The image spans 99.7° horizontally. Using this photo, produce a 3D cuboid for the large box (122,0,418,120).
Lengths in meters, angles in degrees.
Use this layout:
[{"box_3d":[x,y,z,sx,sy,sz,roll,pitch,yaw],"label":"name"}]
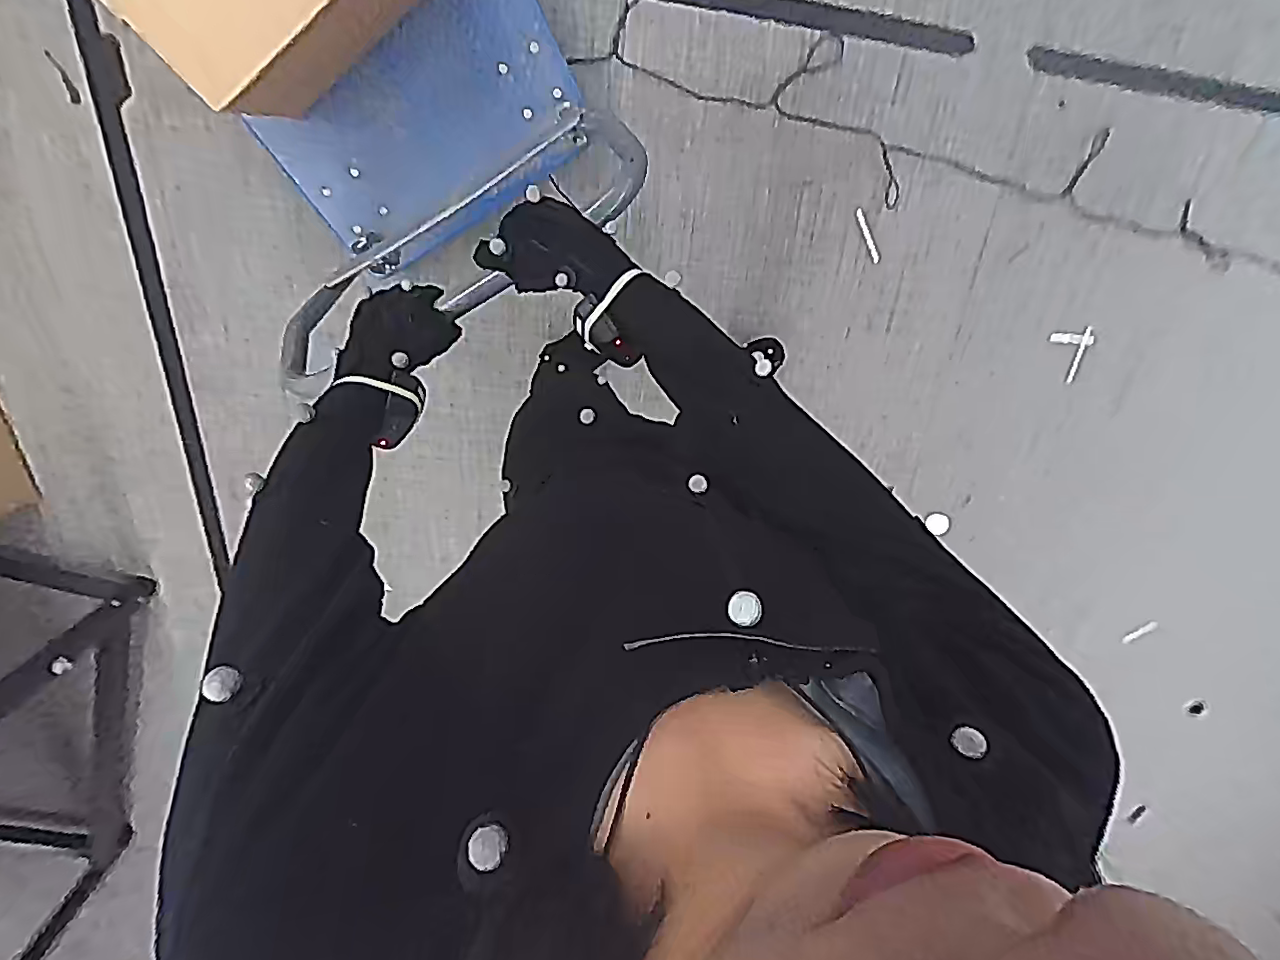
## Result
[{"box_3d":[-0.539,-0.808,0.775,0.408,0.320,0.320,-36,122,10],"label":"large box"}]
